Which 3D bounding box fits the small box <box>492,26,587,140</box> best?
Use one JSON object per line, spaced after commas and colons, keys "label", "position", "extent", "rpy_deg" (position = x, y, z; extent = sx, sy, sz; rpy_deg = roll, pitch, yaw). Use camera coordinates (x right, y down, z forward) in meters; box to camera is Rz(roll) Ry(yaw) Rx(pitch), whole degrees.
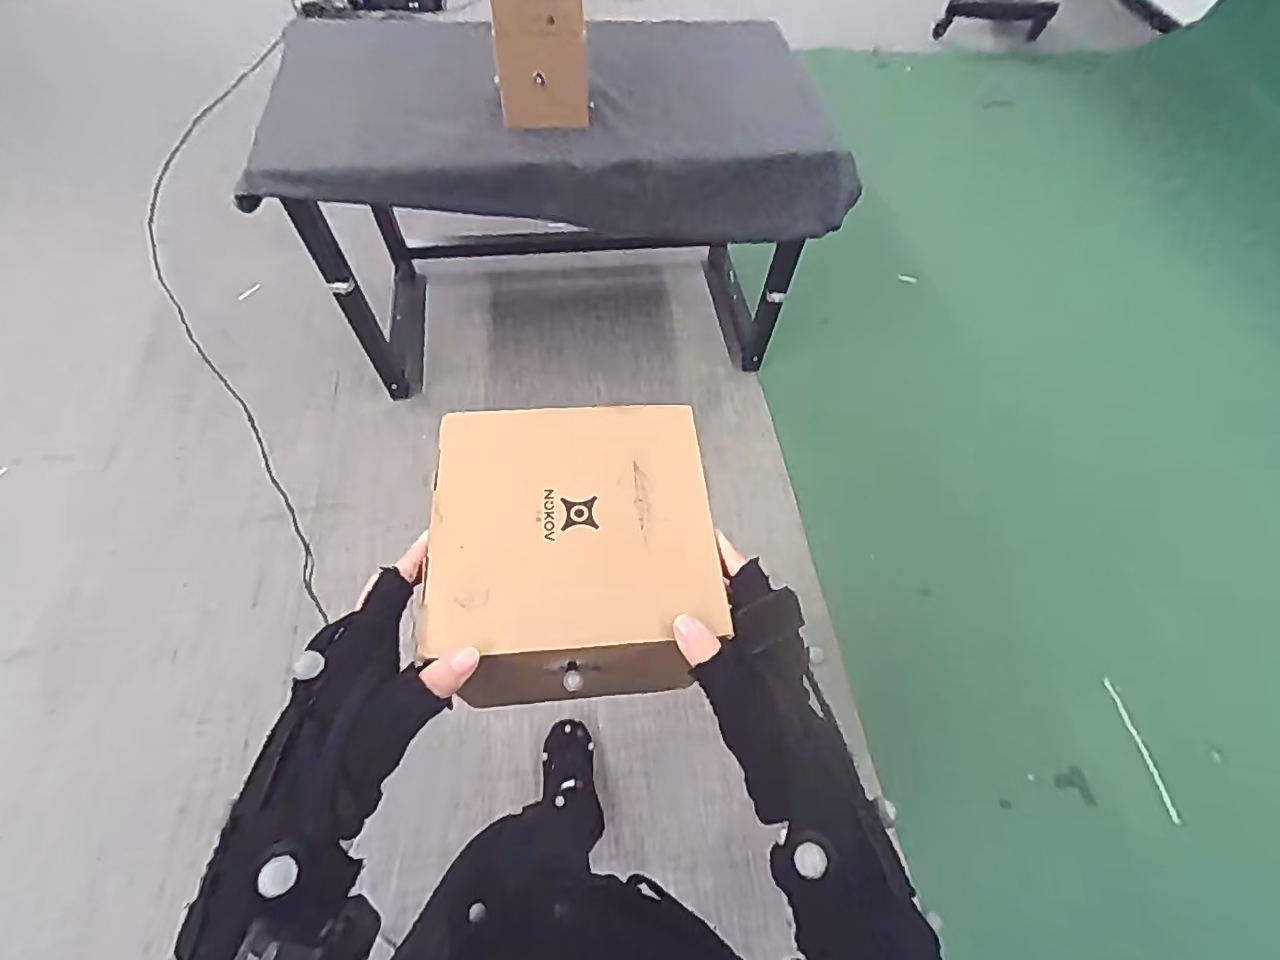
{"label": "small box", "position": [-0.202, -0.832, 1.120], "extent": [0.179, 0.176, 0.168], "rpy_deg": [-5, 60, -5]}

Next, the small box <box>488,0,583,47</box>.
{"label": "small box", "position": [-0.195, -0.921, 0.984], "extent": [0.168, 0.176, 0.179], "rpy_deg": [-5, 61, -6]}
